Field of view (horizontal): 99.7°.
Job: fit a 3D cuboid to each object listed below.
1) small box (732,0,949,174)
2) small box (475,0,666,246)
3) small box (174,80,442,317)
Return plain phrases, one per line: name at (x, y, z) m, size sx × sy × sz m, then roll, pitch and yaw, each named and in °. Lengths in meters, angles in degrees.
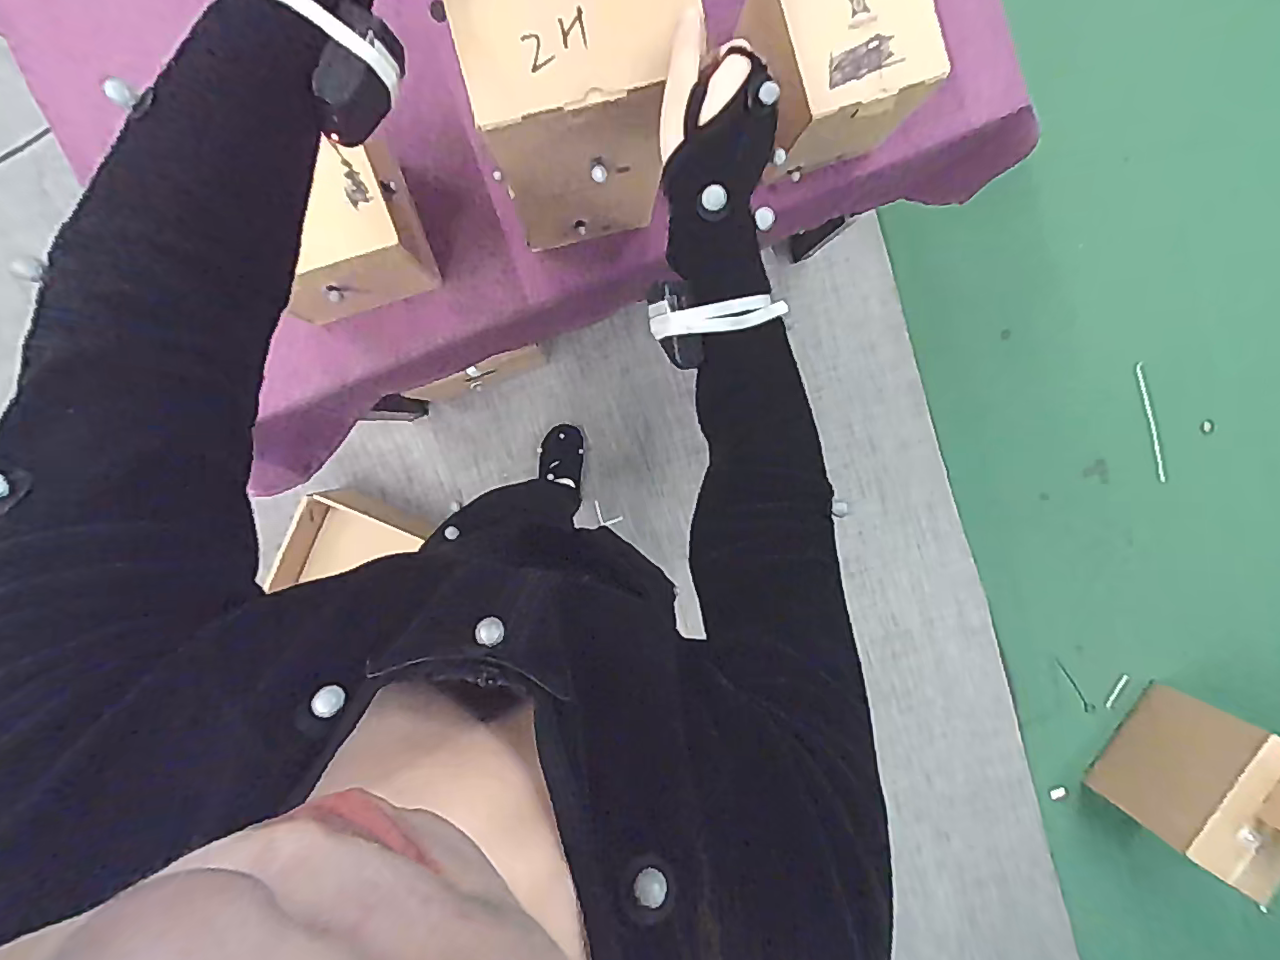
small box at (0.228, -0.501, 0.652) m, size 0.168 × 0.176 × 0.179 m, roll -19°, pitch 97°, yaw -3°
small box at (-0.078, -0.404, 0.637) m, size 0.168 × 0.176 × 0.179 m, roll -14°, pitch 98°, yaw -4°
small box at (-0.357, -0.301, 0.620) m, size 0.179 × 0.176 × 0.168 m, roll -19°, pitch 98°, yaw -2°
